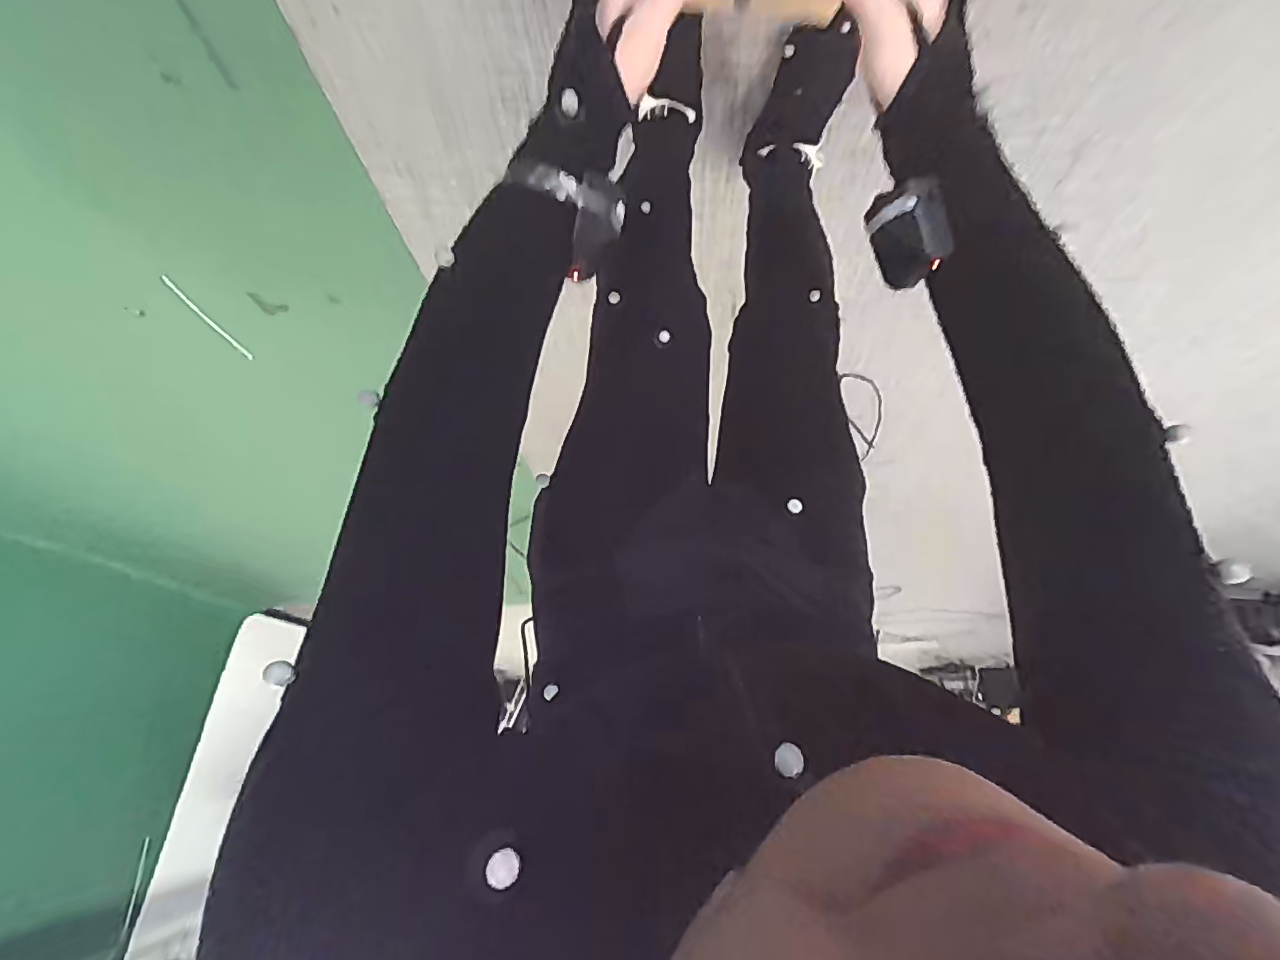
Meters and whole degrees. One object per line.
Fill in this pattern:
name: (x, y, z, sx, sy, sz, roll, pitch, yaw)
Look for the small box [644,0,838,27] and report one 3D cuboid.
small box: (0.095, -0.469, 0.387, 0.179, 0.168, 0.176, 4, -166, -3)
